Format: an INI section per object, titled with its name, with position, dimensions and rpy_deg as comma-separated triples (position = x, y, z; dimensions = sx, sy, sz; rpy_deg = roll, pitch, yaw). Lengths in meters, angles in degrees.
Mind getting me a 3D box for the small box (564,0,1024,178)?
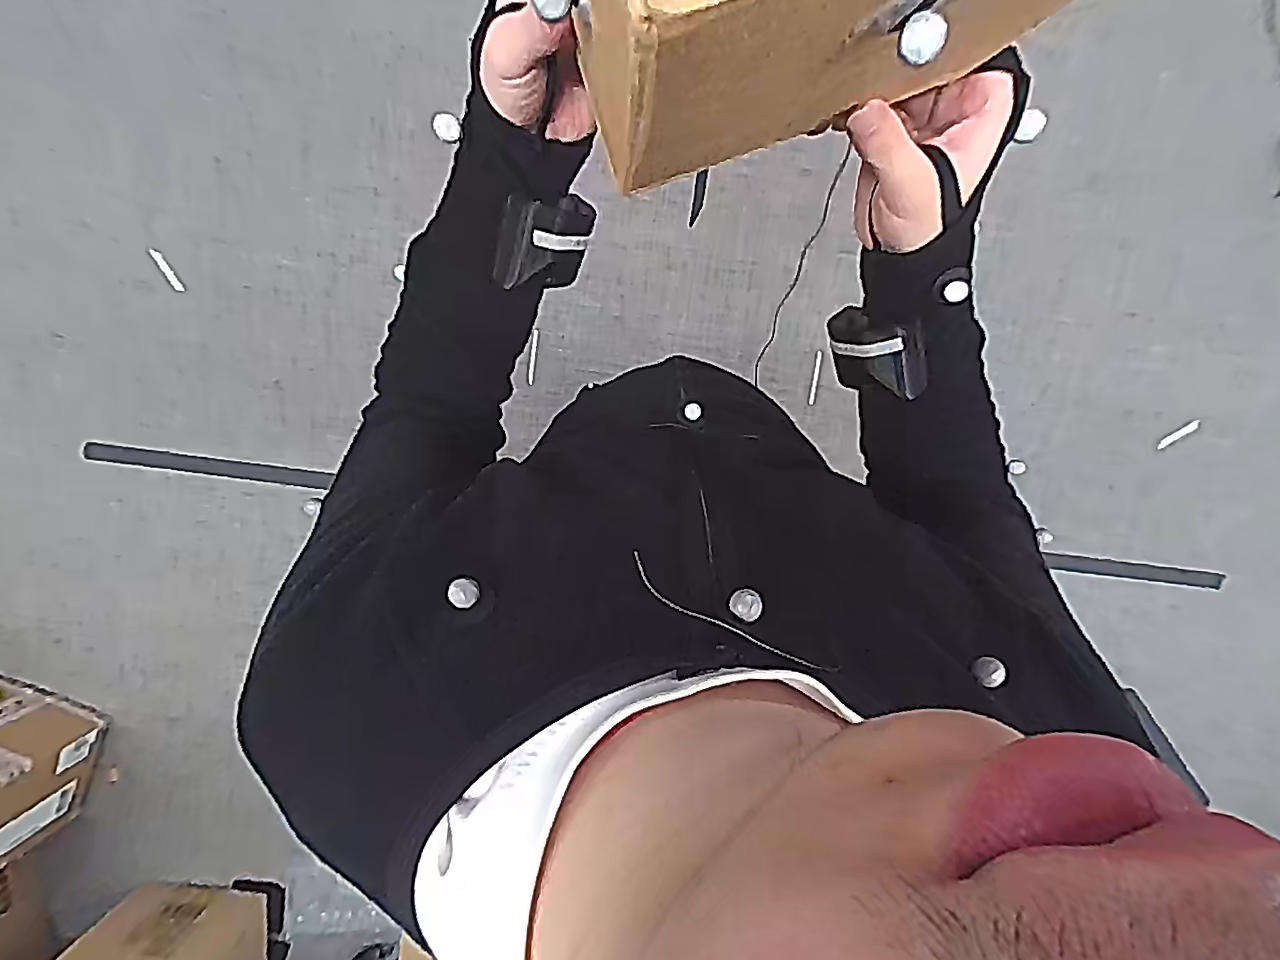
[small box]
position = 0.050, -0.226, 0.176
dimensions = 0.179, 0.176, 0.168
rpy_deg = -19, 107, 1
